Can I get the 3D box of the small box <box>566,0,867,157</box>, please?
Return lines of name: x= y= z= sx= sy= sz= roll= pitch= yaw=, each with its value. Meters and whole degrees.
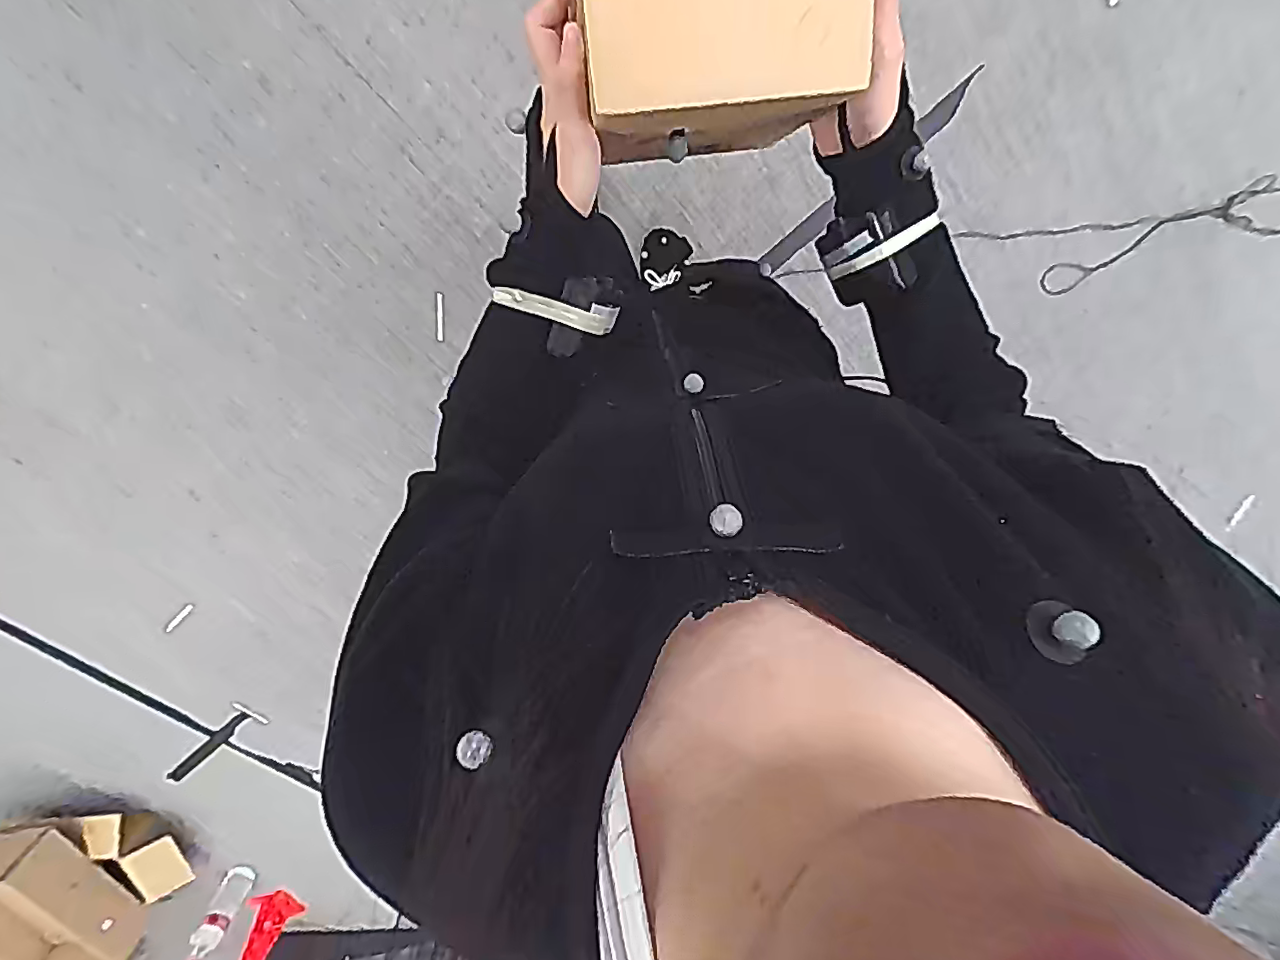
small box: x=0.035 y=-0.329 z=0.358 sx=0.168 sy=0.176 sz=0.179 roll=-8 pitch=111 yaw=-4
